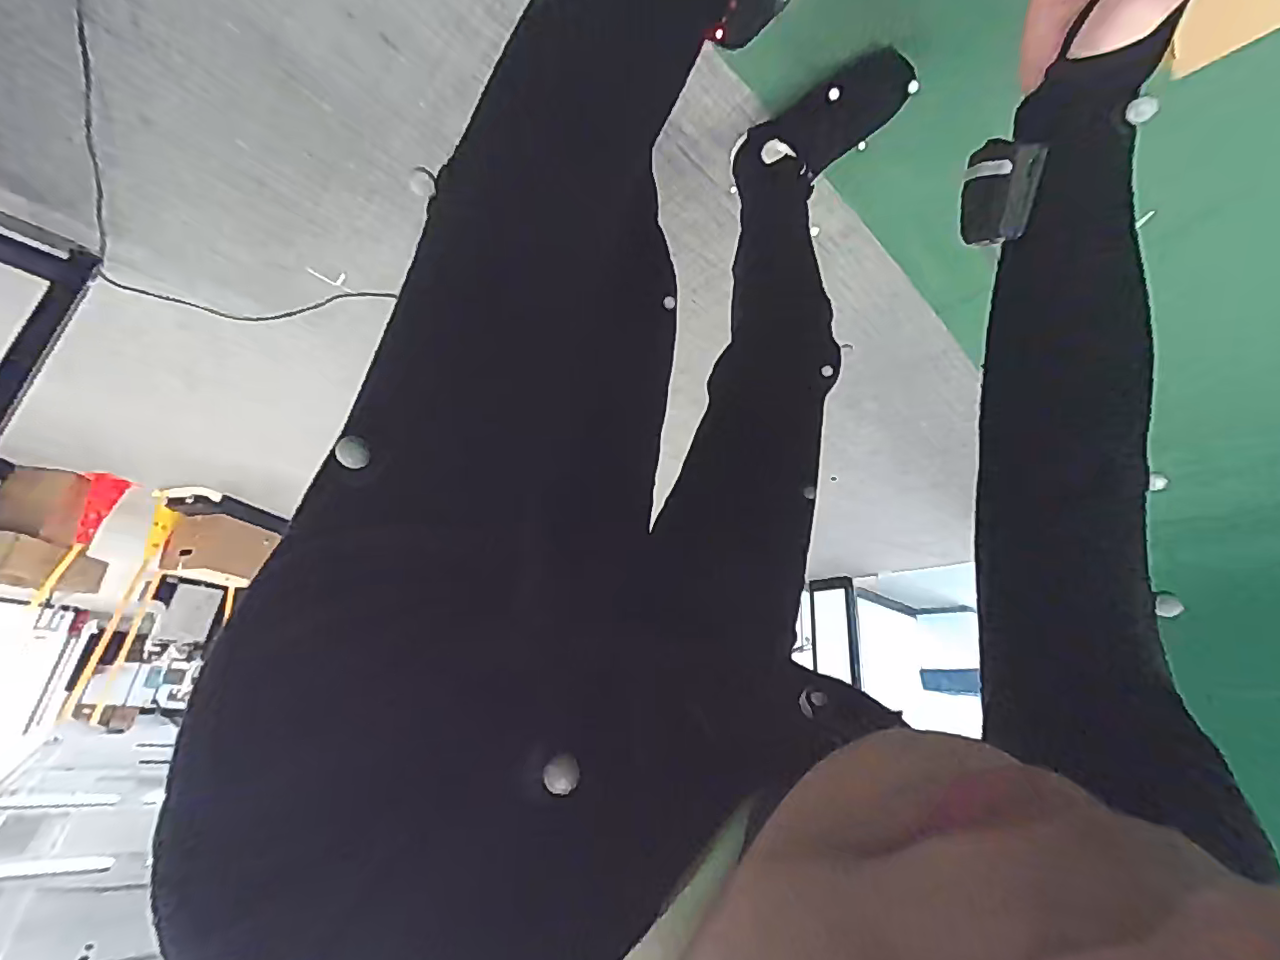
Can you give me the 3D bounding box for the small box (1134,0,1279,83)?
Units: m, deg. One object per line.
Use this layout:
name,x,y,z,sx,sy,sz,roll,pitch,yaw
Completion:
small box,0.654,-0.596,0.574,0.179,0.176,0.168,-16,150,42
